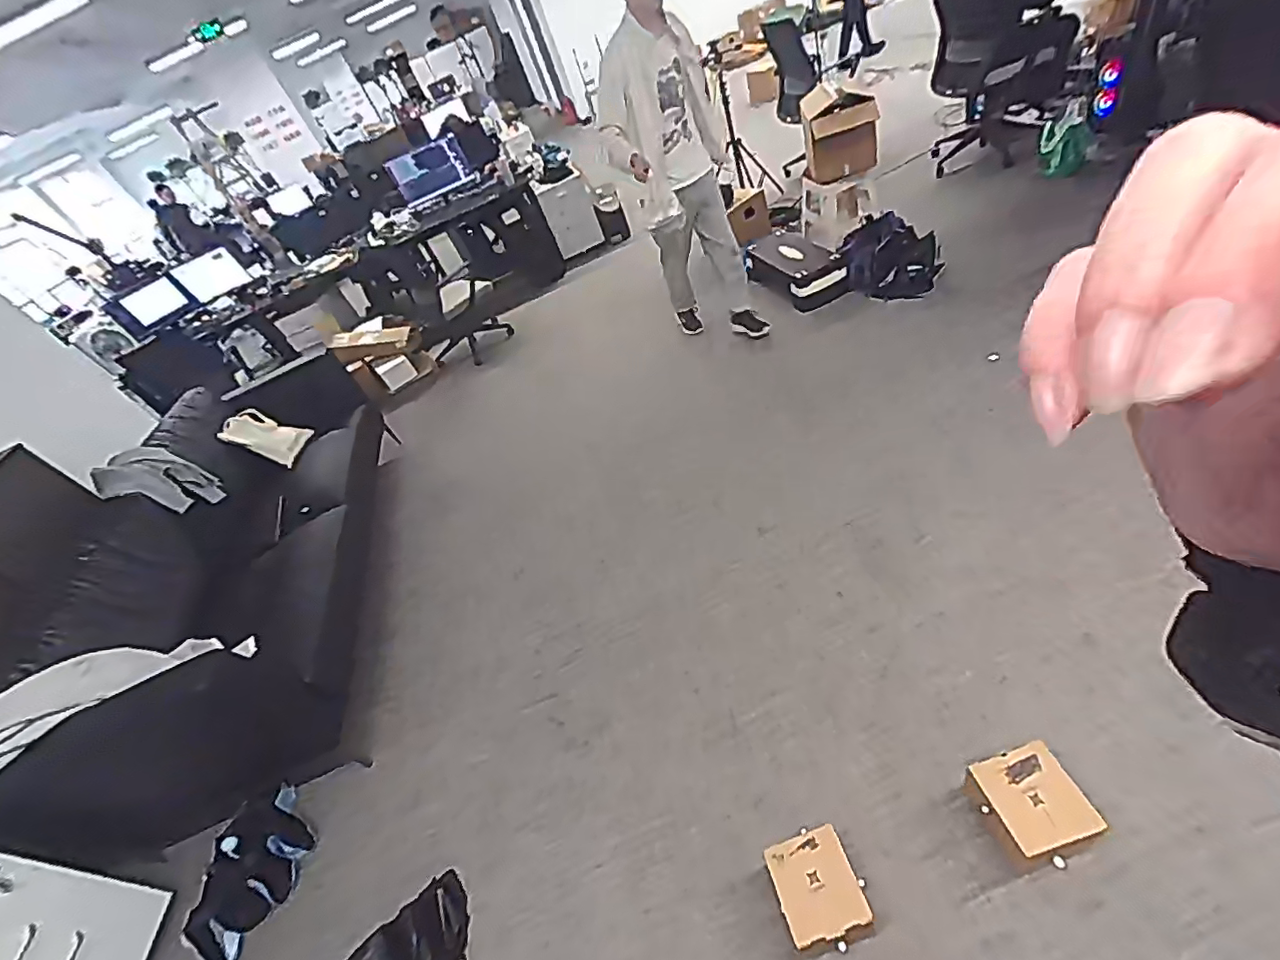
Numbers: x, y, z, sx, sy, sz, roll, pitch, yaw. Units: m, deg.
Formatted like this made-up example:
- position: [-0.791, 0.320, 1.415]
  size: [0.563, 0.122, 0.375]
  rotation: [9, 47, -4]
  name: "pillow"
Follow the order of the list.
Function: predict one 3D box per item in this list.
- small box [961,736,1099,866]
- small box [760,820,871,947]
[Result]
- position: [0.819, 0.689, 1.160]
  size: [0.168, 0.176, 0.179]
  rotation: [-24, 42, 4]
  name: "small box"
- position: [0.385, 0.885, 1.180]
  size: [0.168, 0.176, 0.179]
  rotation: [-24, 40, 3]
  name: "small box"
